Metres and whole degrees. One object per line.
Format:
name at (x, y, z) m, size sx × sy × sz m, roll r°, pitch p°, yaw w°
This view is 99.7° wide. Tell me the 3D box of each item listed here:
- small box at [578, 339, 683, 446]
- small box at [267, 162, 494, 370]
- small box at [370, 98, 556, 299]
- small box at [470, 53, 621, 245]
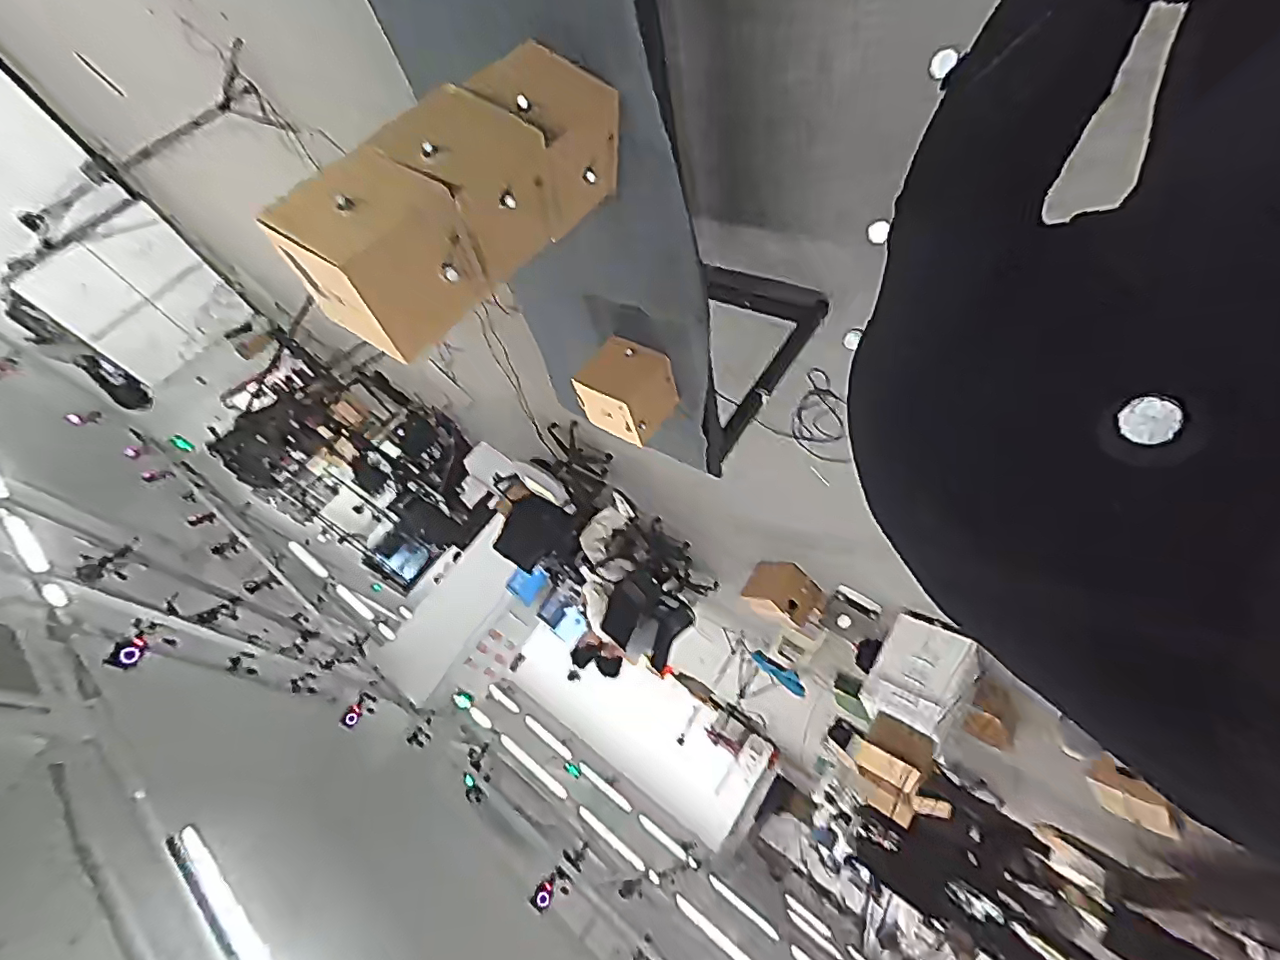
small box at (-0.018, -0.222, 1.337) m, size 0.179 × 0.176 × 0.168 m, roll 28°, pitch 159°, yaw 29°
small box at (-0.330, -0.286, 0.721) m, size 0.179 × 0.176 × 0.168 m, roll 31°, pitch 160°, yaw 20°
small box at (-0.237, -0.407, 0.783) m, size 0.179 × 0.176 × 0.168 m, roll 35°, pitch 160°, yaw 14°
small box at (-0.146, -0.522, 0.854) m, size 0.179 × 0.176 × 0.168 m, roll 36°, pitch 161°, yaw 10°
